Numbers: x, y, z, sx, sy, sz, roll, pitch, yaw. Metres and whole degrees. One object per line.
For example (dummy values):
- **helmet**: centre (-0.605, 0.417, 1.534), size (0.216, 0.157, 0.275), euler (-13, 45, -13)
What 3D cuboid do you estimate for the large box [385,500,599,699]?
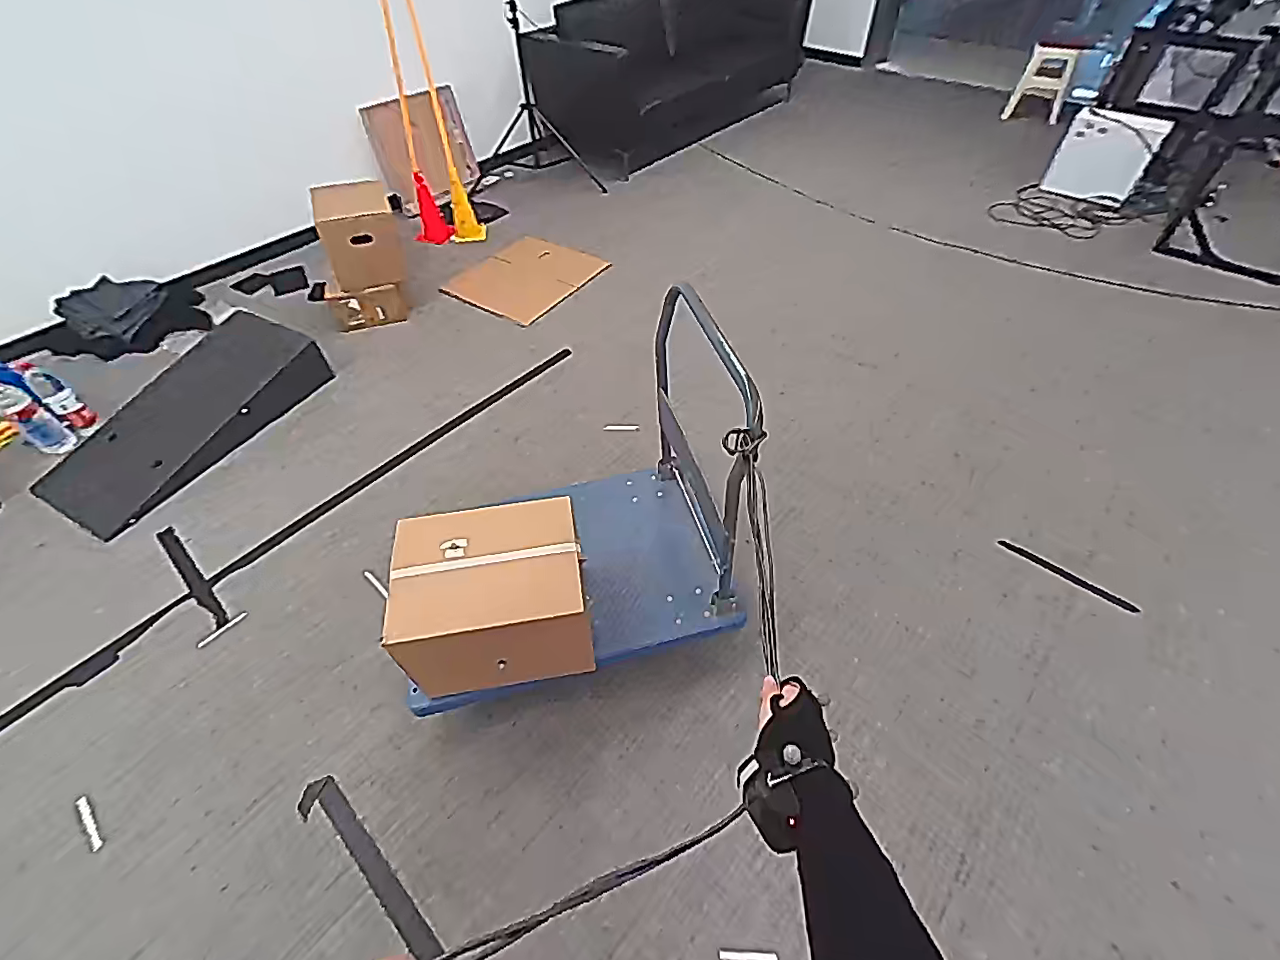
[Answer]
- **large box**: centre (-0.326, 0.285, 1.281), size (0.408, 0.320, 0.320), euler (-8, 49, -5)
